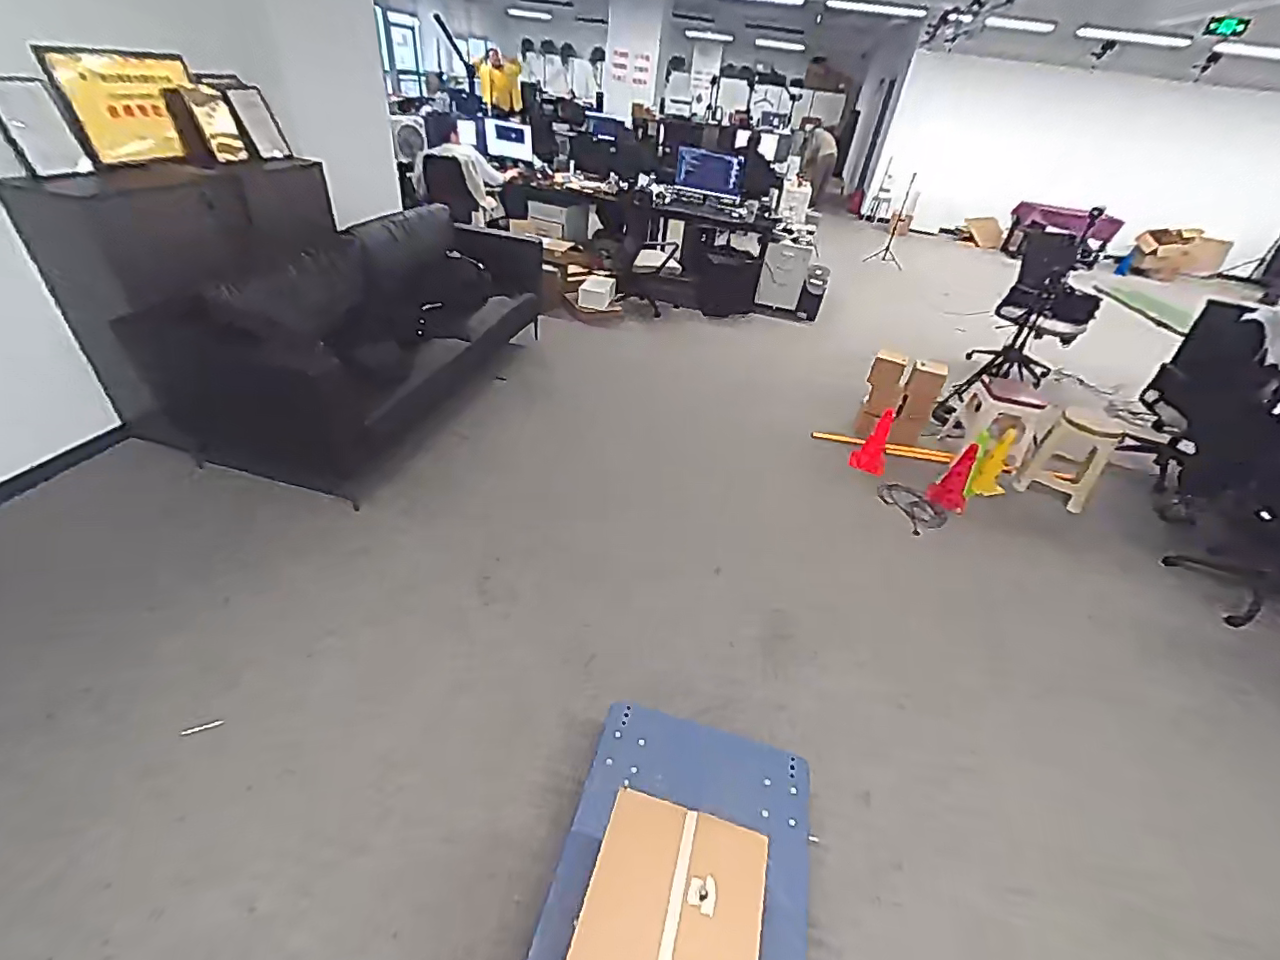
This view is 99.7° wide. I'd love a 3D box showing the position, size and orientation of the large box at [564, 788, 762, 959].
[{"bbox_3d":[0.034,0.902,1.029,0.320,0.320,0.408,14,36,9],"label":"large box"}]
